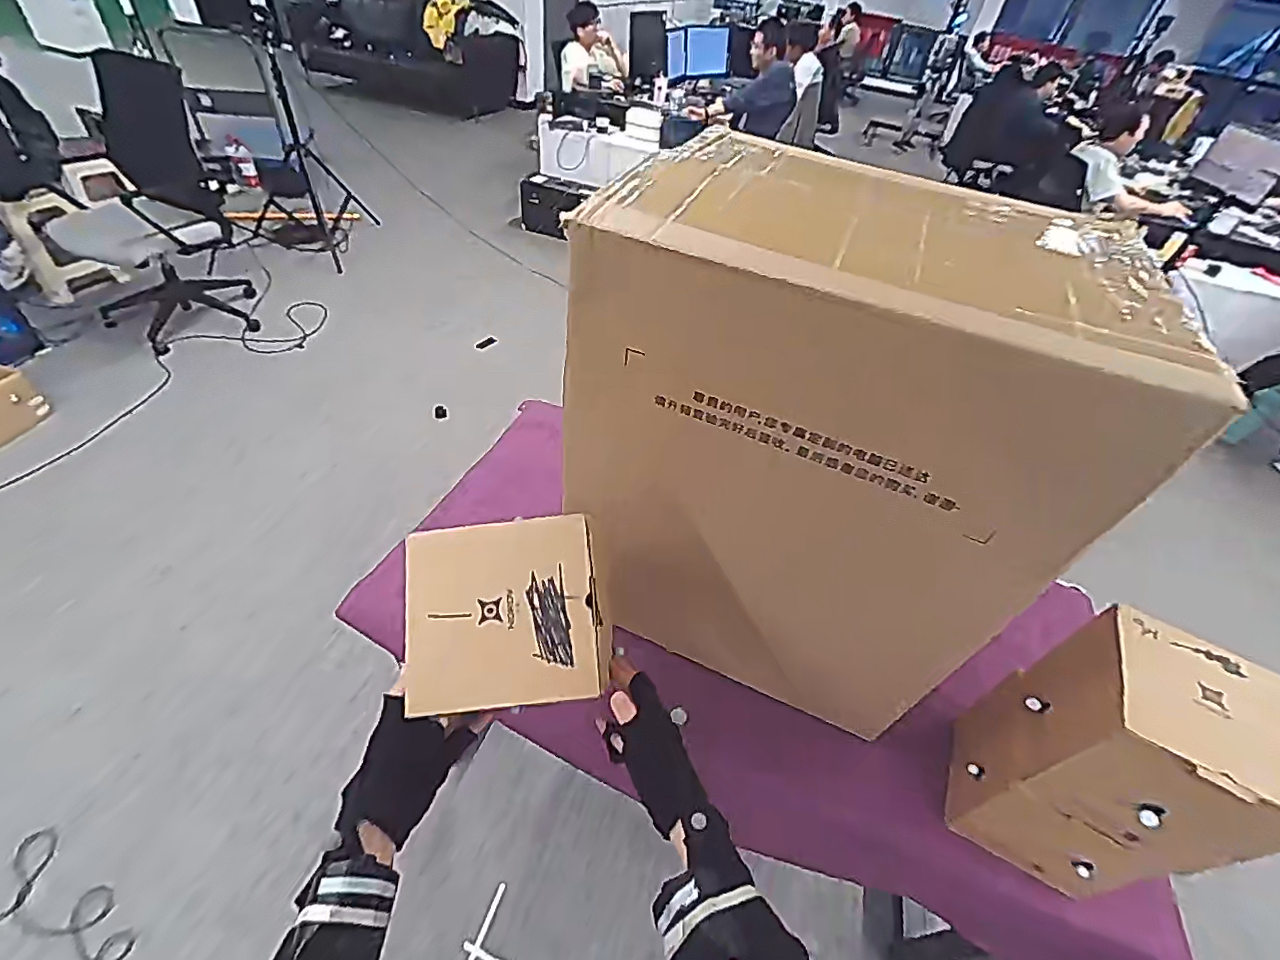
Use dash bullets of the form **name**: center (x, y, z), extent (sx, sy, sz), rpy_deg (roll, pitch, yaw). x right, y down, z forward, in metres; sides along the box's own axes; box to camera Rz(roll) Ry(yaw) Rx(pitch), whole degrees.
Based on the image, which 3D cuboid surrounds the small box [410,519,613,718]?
- **small box**: center (-0.123, 0.146, 0.573), extent (0.179, 0.176, 0.168), rpy_deg (-7, 73, 0)

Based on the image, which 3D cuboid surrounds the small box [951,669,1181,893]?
- **small box**: center (0.533, 0.393, 0.707), extent (0.168, 0.176, 0.179), rpy_deg (25, 45, 15)

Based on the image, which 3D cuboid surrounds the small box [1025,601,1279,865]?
- **small box**: center (0.560, 0.277, 0.594), extent (0.168, 0.176, 0.179), rpy_deg (28, 47, 18)
